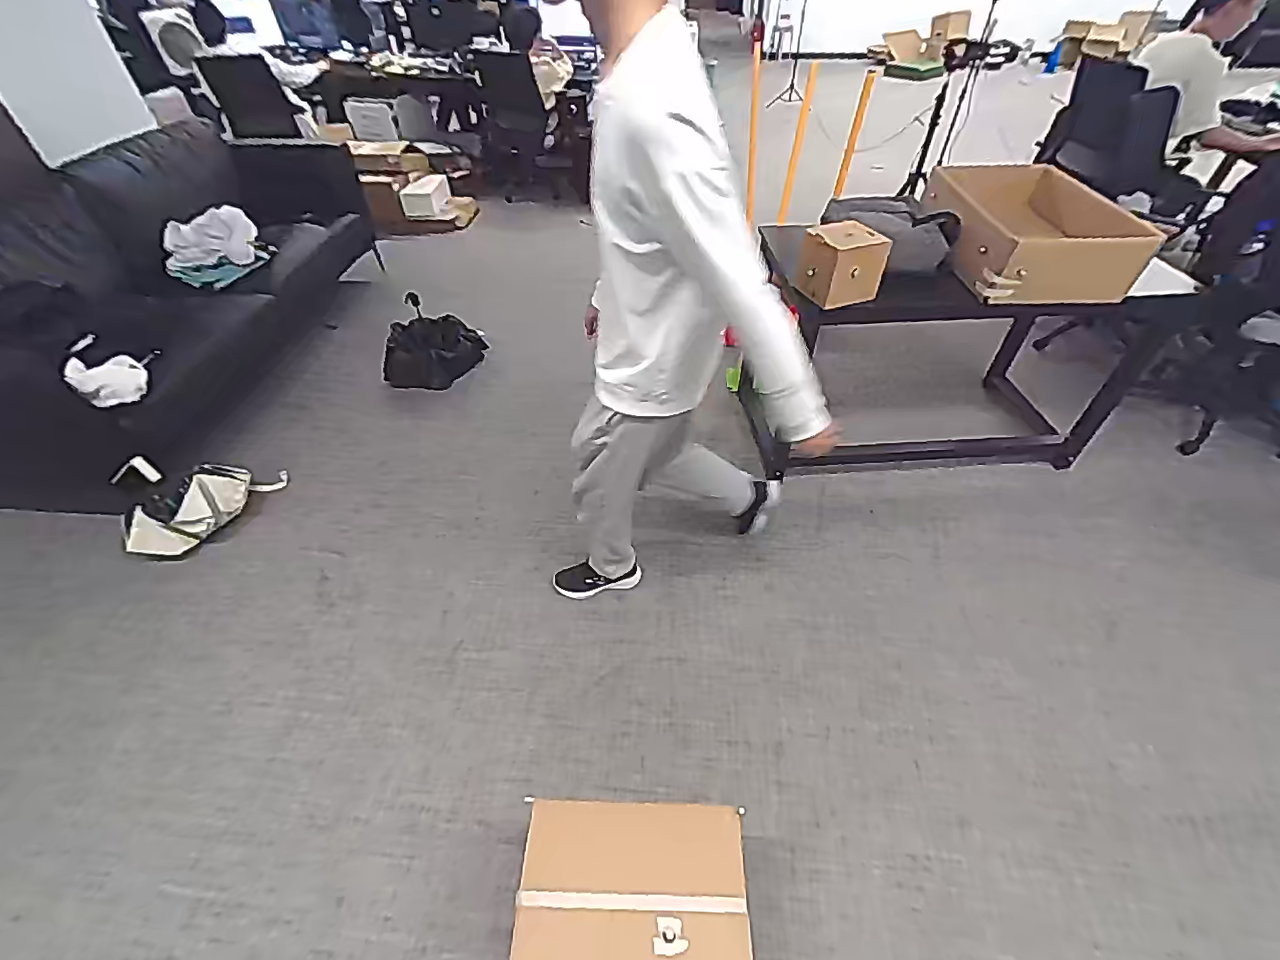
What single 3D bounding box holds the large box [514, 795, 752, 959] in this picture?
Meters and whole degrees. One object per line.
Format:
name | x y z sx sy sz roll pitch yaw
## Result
large box | -0.009 0.838 1.060 0.408 0.320 0.320 0 46 2
